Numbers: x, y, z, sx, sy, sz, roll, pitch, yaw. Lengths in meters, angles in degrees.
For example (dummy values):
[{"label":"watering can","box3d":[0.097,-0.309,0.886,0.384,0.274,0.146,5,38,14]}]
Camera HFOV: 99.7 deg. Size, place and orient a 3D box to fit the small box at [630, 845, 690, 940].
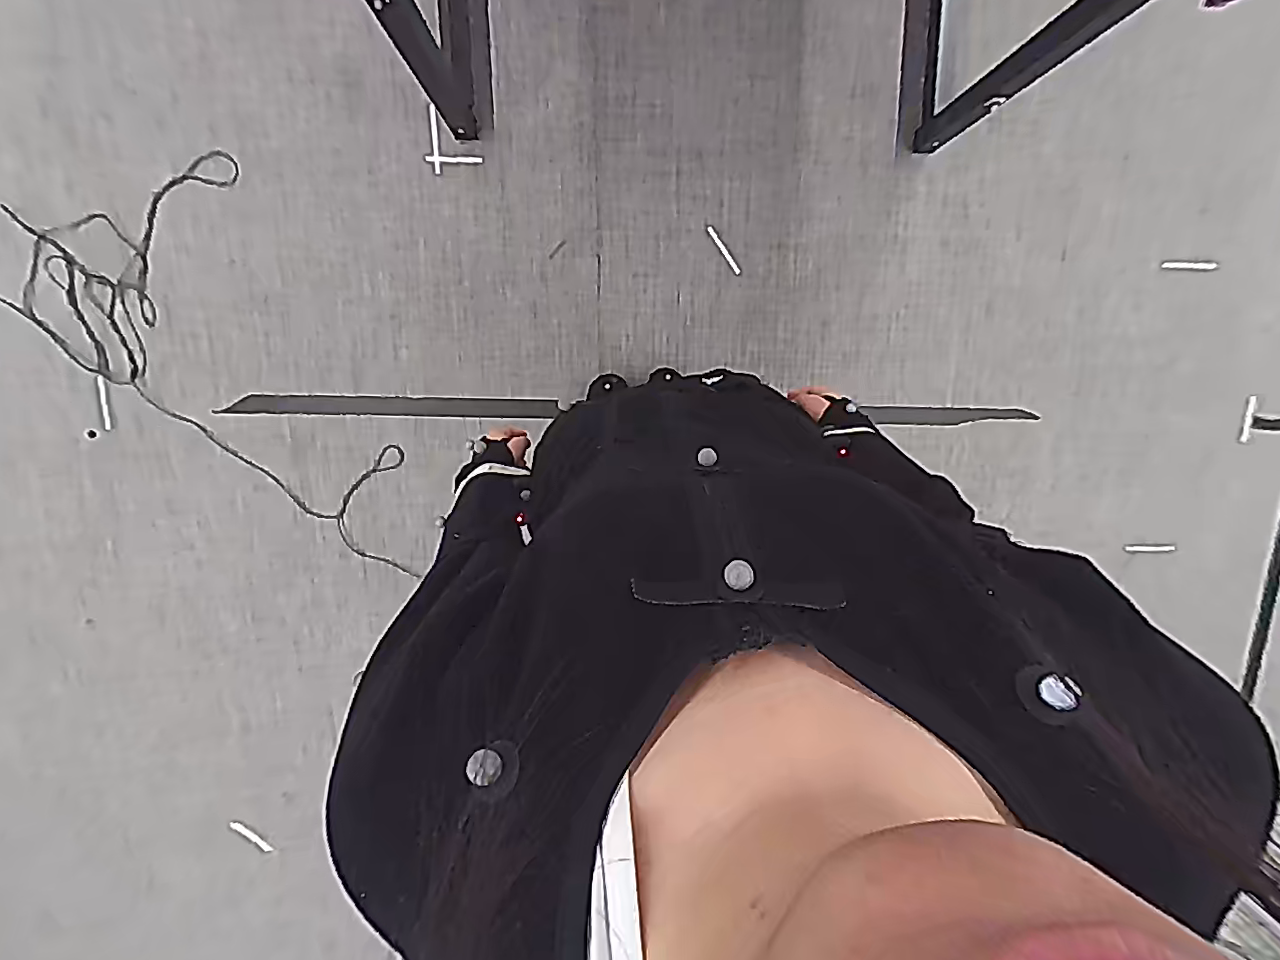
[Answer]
[{"label":"small box","box3d":[0.056,1.255,1.655,0.168,0.176,0.179,2,101,-2]}]
